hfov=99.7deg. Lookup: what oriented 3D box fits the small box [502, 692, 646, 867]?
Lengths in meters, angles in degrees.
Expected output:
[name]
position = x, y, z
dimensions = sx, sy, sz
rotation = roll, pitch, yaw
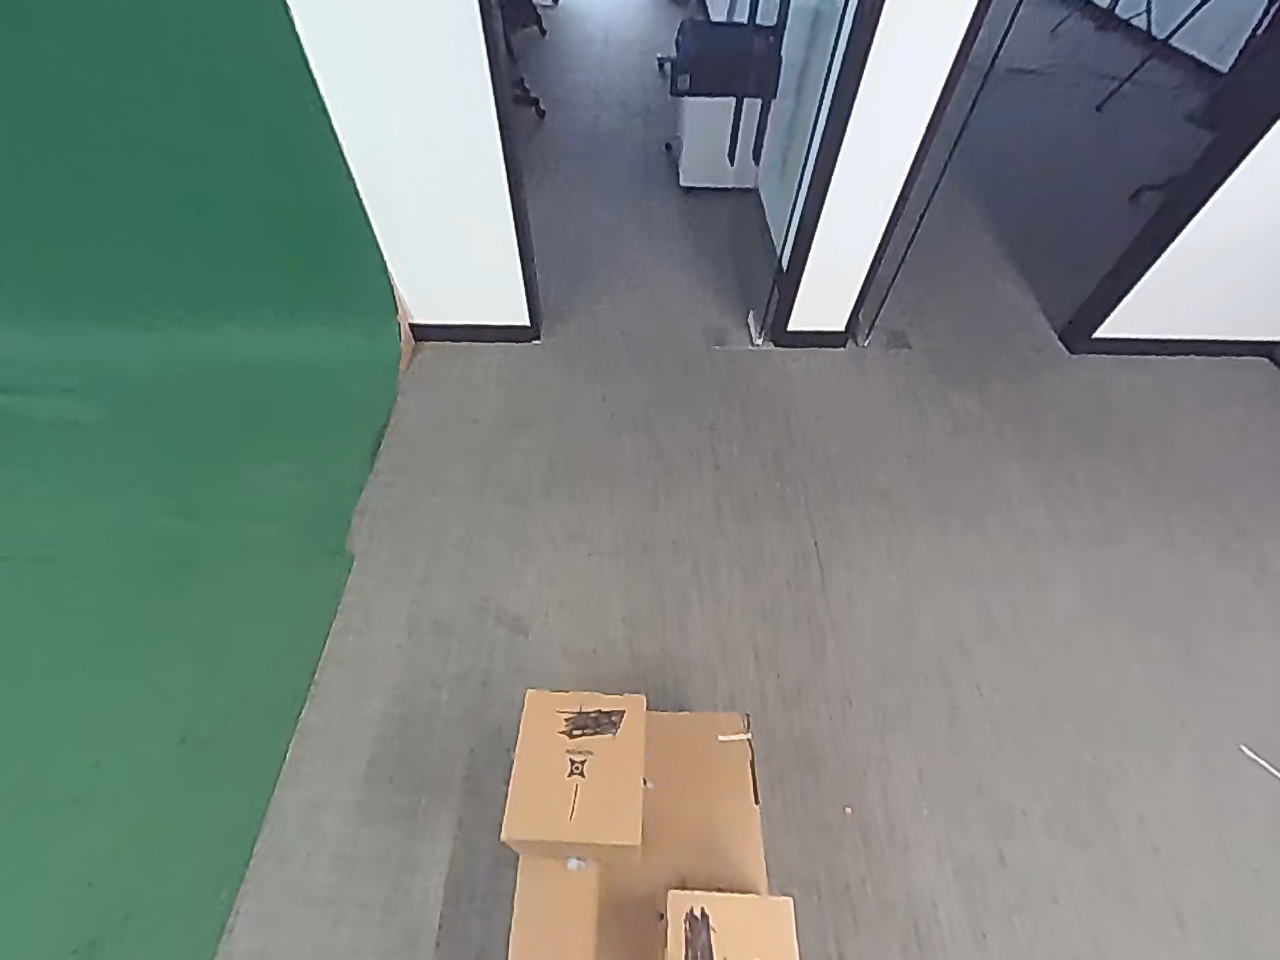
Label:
[small box]
position = -0.079, 0.411, 0.742
dimensions = 0.168, 0.176, 0.179
rotation = 2, 49, 1
